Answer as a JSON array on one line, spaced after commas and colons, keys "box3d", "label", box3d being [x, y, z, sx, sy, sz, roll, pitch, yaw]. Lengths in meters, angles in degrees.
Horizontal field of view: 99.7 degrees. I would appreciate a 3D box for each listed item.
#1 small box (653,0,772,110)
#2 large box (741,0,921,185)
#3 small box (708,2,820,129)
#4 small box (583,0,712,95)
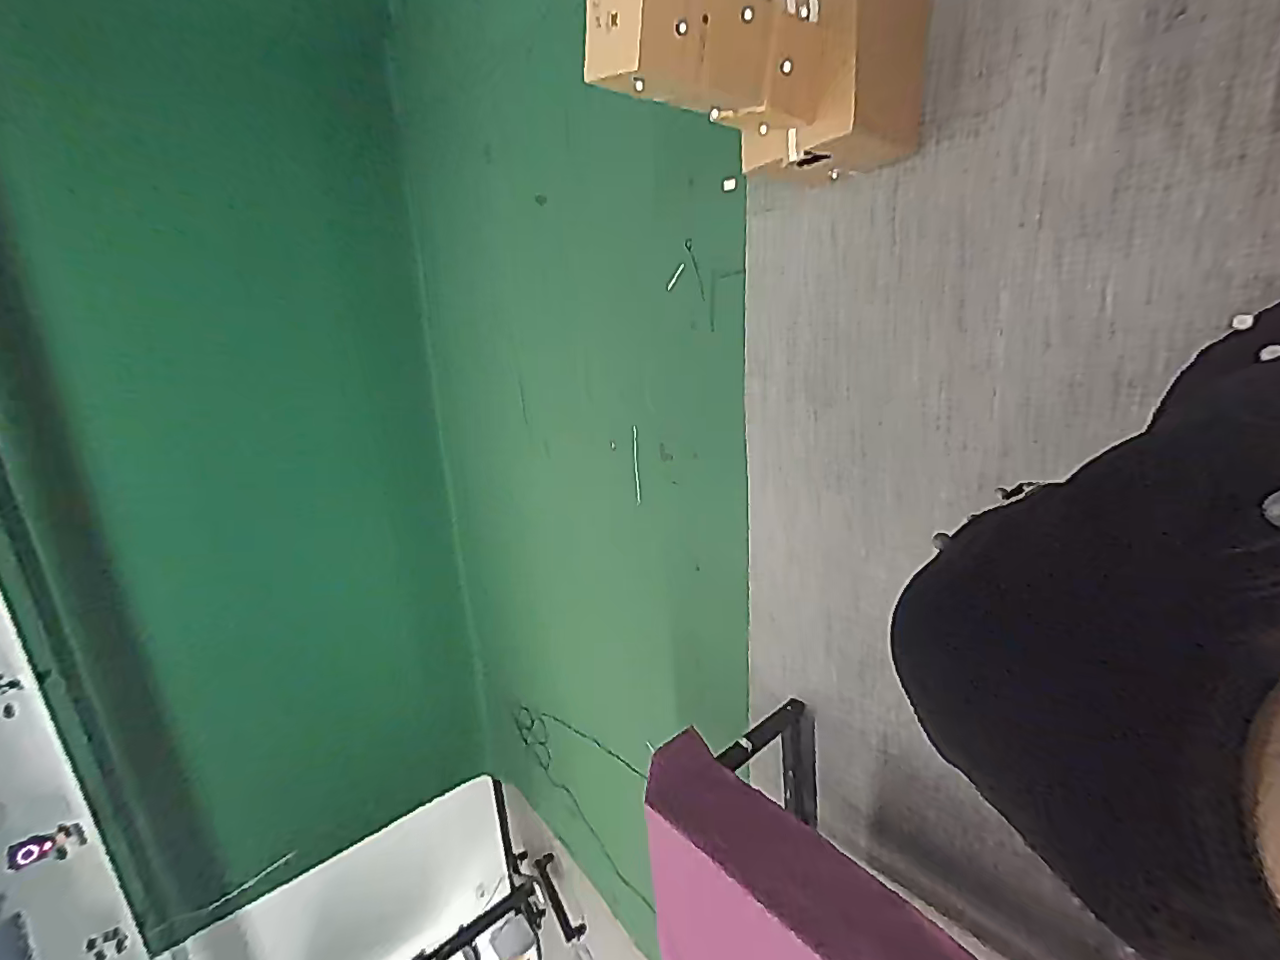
[{"box3d": [0.145, -0.874, 1.095, 0.168, 0.176, 0.179, 32, 127, 43], "label": "small box"}, {"box3d": [0.461, -0.999, 1.321, 0.320, 0.320, 0.408, 12, 111, 49], "label": "large box"}, {"box3d": [0.274, -0.899, 1.192, 0.168, 0.176, 0.179, 27, 123, 45], "label": "small box"}, {"box3d": [0.013, -0.837, 1.005, 0.179, 0.176, 0.168, 32, 126, 43], "label": "small box"}]
